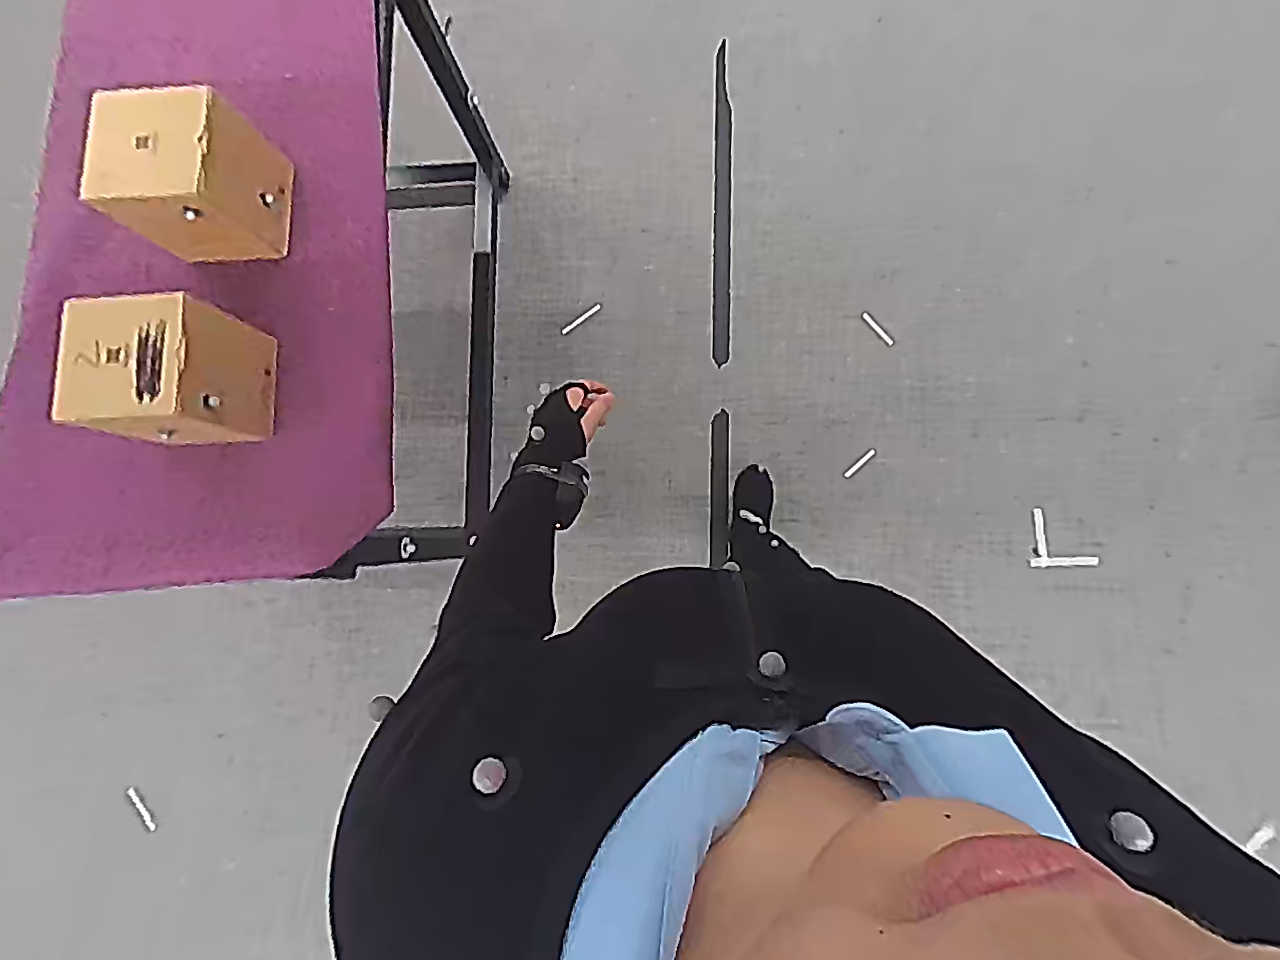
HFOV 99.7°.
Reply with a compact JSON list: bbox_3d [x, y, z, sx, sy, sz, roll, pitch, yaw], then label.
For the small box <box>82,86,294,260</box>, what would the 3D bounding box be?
[{"bbox_3d":[-0.672,-0.453,0.823,0.179,0.176,0.168,-1,83,3],"label":"small box"}]
